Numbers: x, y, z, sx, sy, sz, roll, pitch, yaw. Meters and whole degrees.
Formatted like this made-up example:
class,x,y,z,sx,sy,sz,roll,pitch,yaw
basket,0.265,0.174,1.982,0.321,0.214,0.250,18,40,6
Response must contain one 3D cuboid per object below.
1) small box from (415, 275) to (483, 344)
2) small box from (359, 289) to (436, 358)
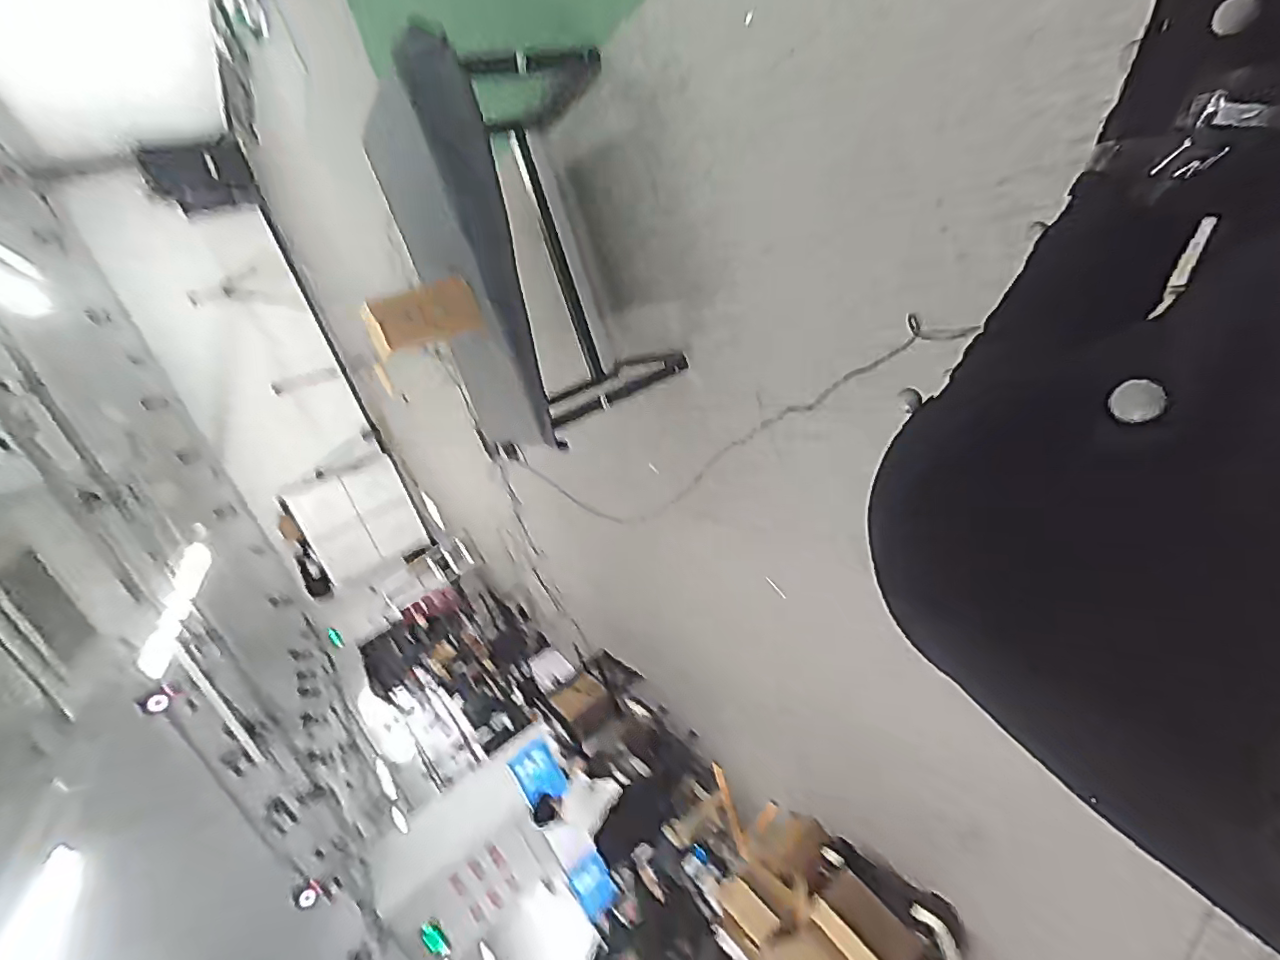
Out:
class,x,y,z,sx,sy,sz,roll,pitch,yaw
small box,-0.665,-0.586,1.859,0.168,0.176,0.179,9,122,55
small box,-0.794,-0.517,1.785,0.179,0.176,0.168,6,121,55
